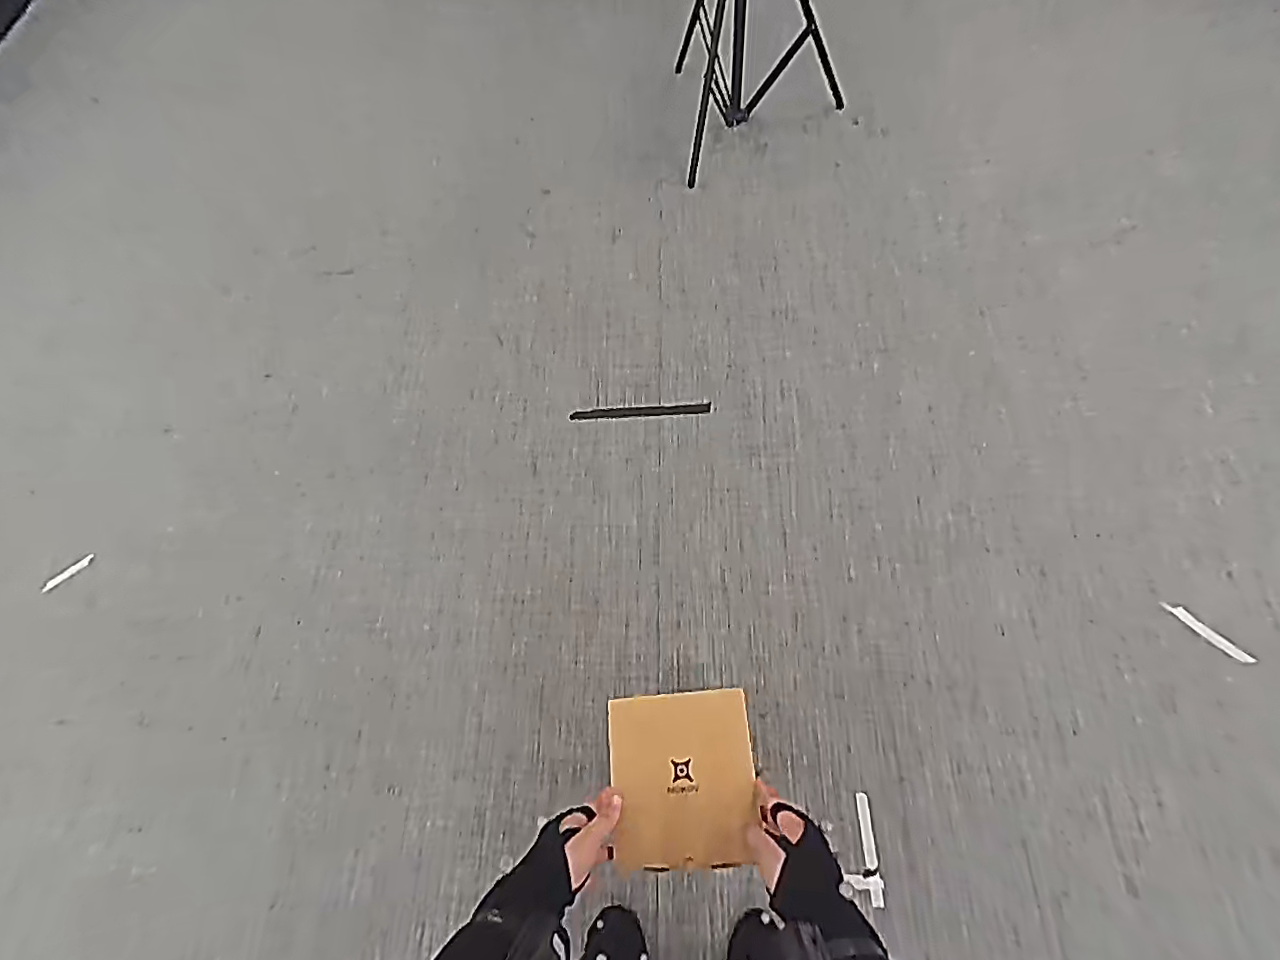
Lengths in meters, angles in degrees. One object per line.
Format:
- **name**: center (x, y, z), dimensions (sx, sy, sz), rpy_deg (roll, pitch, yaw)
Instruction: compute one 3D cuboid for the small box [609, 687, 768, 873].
- **small box**: center (0.059, 0.364, 0.670), dimensions (0.168, 0.176, 0.179), rpy_deg (-8, 63, 7)
